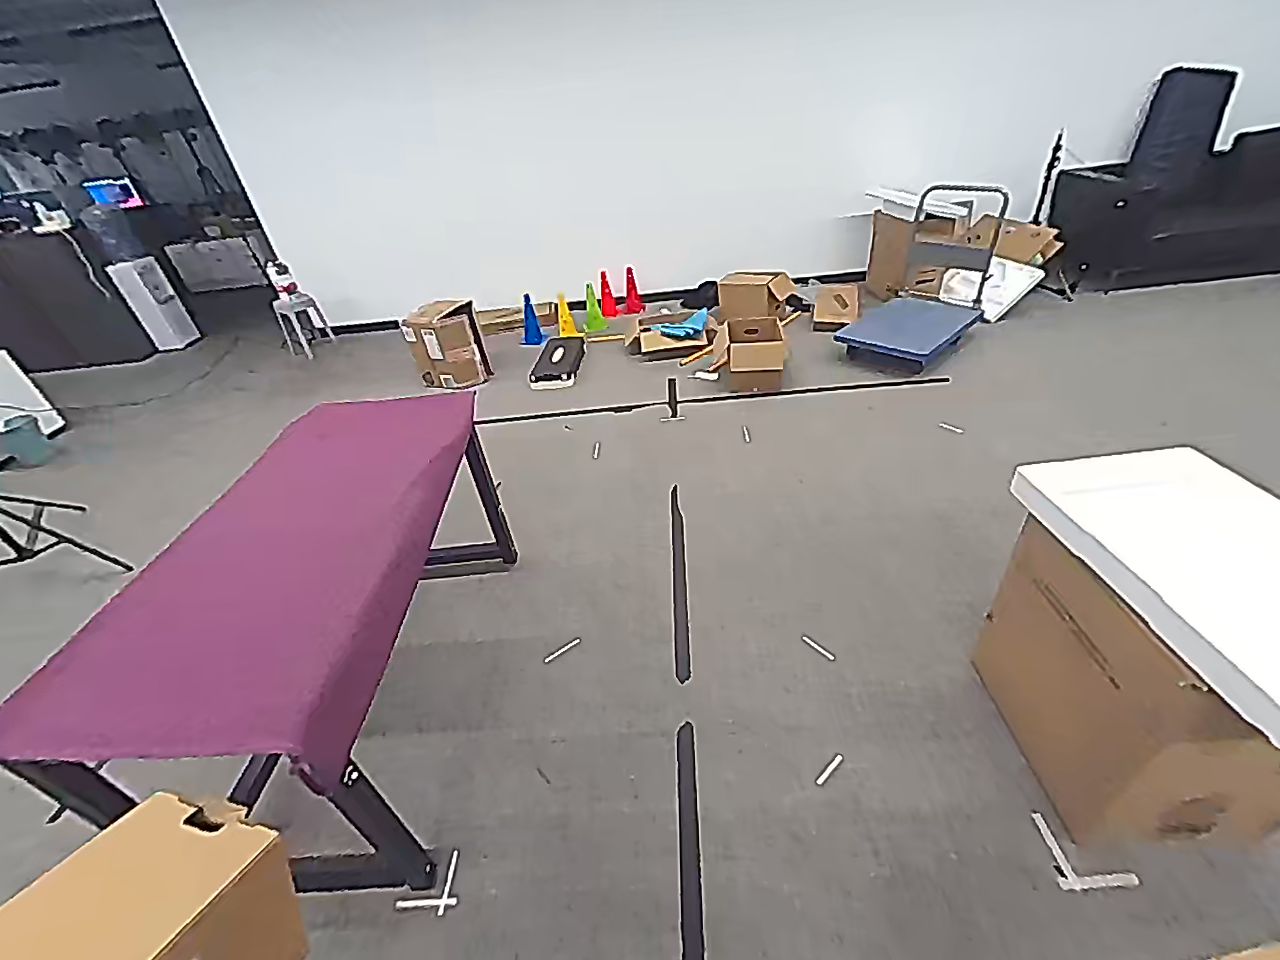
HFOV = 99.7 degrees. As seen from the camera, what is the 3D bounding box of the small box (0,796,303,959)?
[{"bbox_3d":[-0.442,0.436,0.483,0.168,0.176,0.179,6,17,16],"label":"small box"}]
